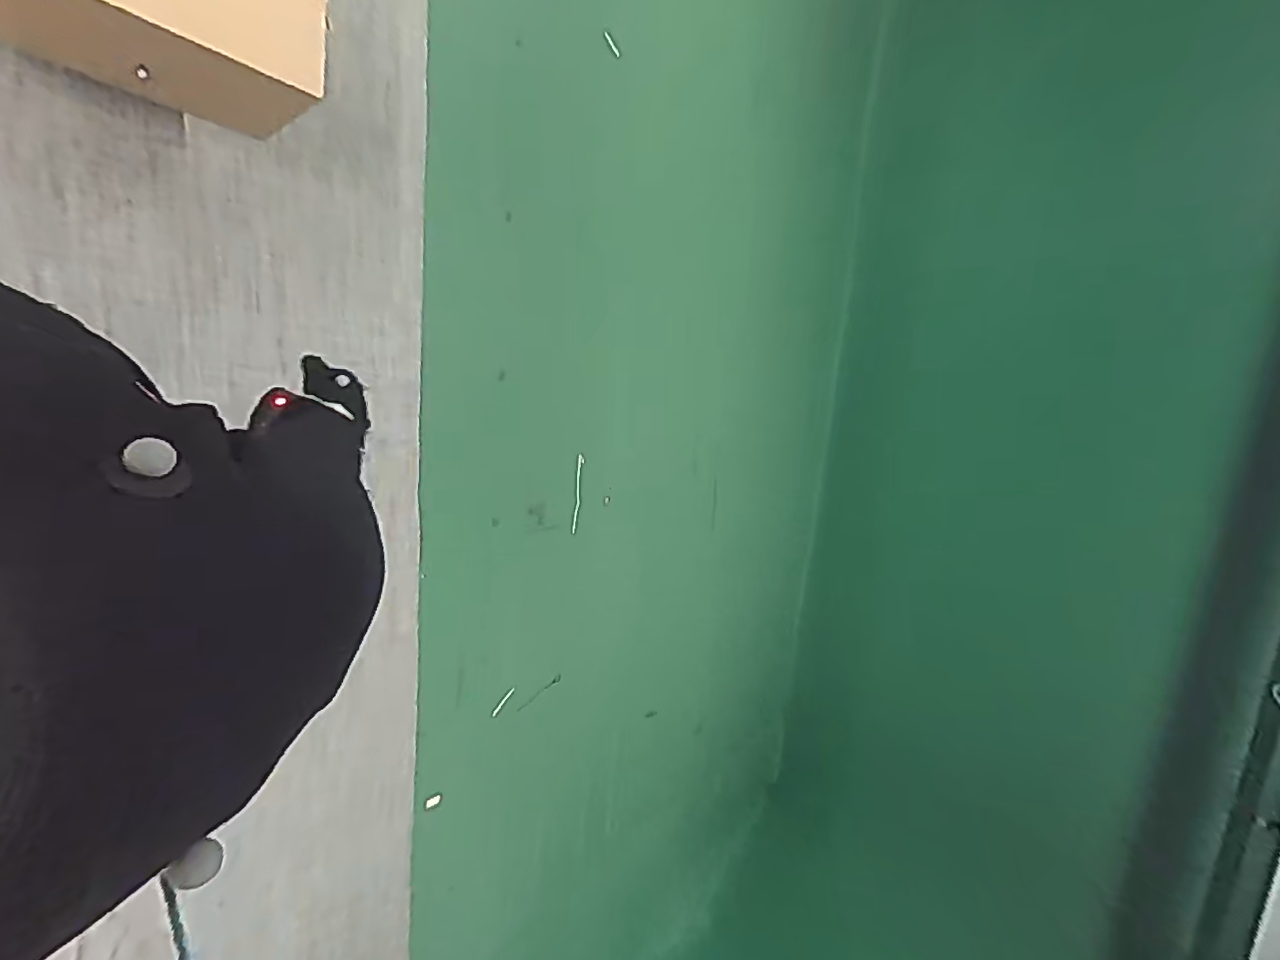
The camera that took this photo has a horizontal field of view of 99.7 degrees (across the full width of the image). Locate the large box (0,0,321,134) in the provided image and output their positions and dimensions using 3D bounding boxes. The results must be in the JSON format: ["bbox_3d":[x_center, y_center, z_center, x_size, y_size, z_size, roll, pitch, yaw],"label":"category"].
[{"bbox_3d":[-0.755,-0.799,0.819,0.408,0.320,0.320,-4,102,-50],"label":"large box"}]
